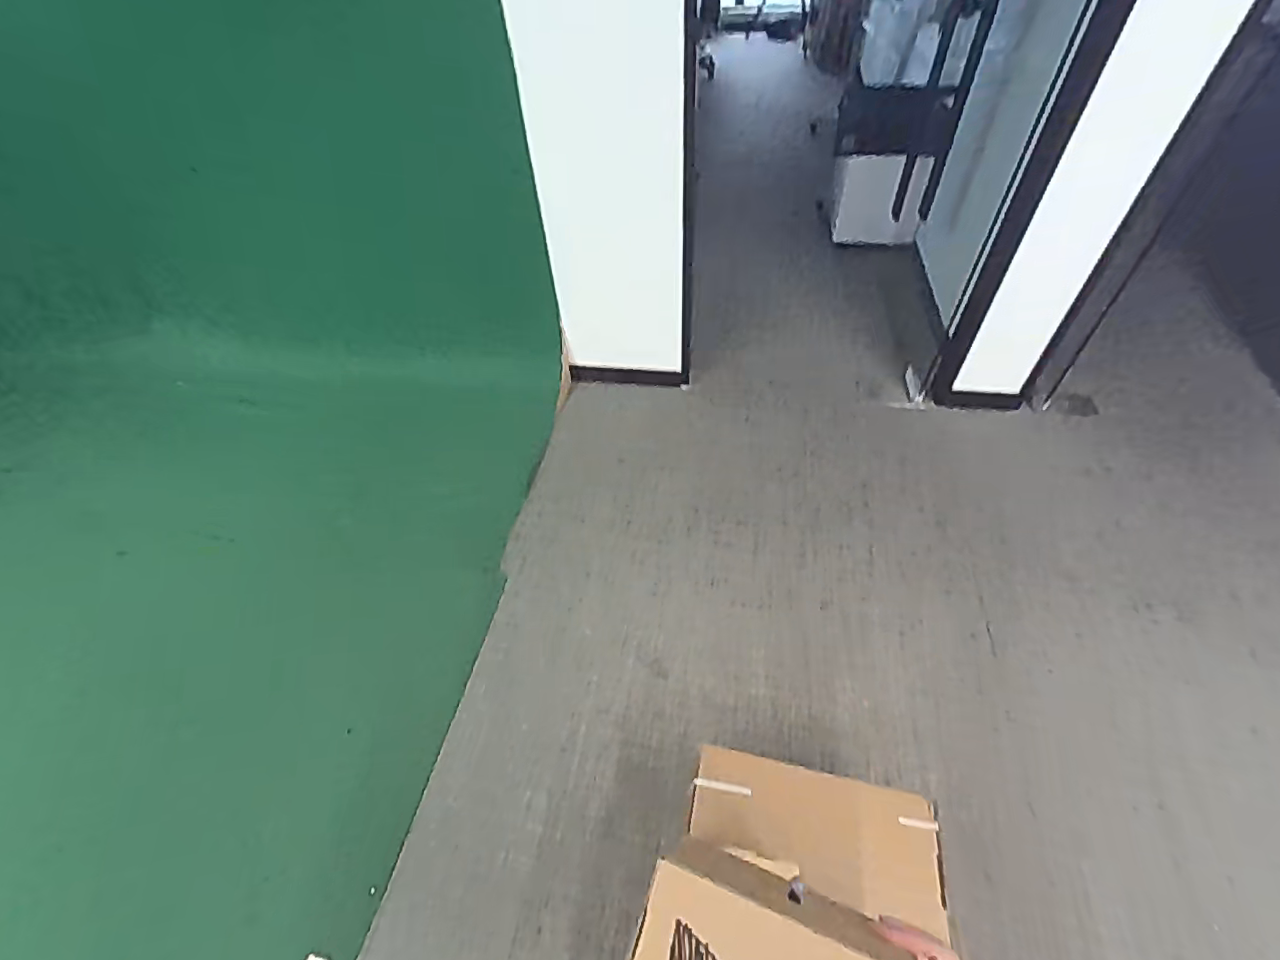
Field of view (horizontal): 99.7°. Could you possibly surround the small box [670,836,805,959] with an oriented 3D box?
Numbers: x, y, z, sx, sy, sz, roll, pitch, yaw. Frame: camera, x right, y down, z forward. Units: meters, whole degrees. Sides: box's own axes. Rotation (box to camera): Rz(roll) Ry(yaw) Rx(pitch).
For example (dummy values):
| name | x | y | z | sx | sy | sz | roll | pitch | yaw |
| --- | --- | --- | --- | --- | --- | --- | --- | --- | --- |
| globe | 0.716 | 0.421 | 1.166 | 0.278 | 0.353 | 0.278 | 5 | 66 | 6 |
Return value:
| name | x | y | z | sx | sy | sz | roll | pitch | yaw |
| --- | --- | --- | --- | --- | --- | --- | --- | --- | --- |
| small box | 0.132 | 0.636 | 0.759 | 0.168 | 0.176 | 0.179 | 7 | 47 | 11 |
